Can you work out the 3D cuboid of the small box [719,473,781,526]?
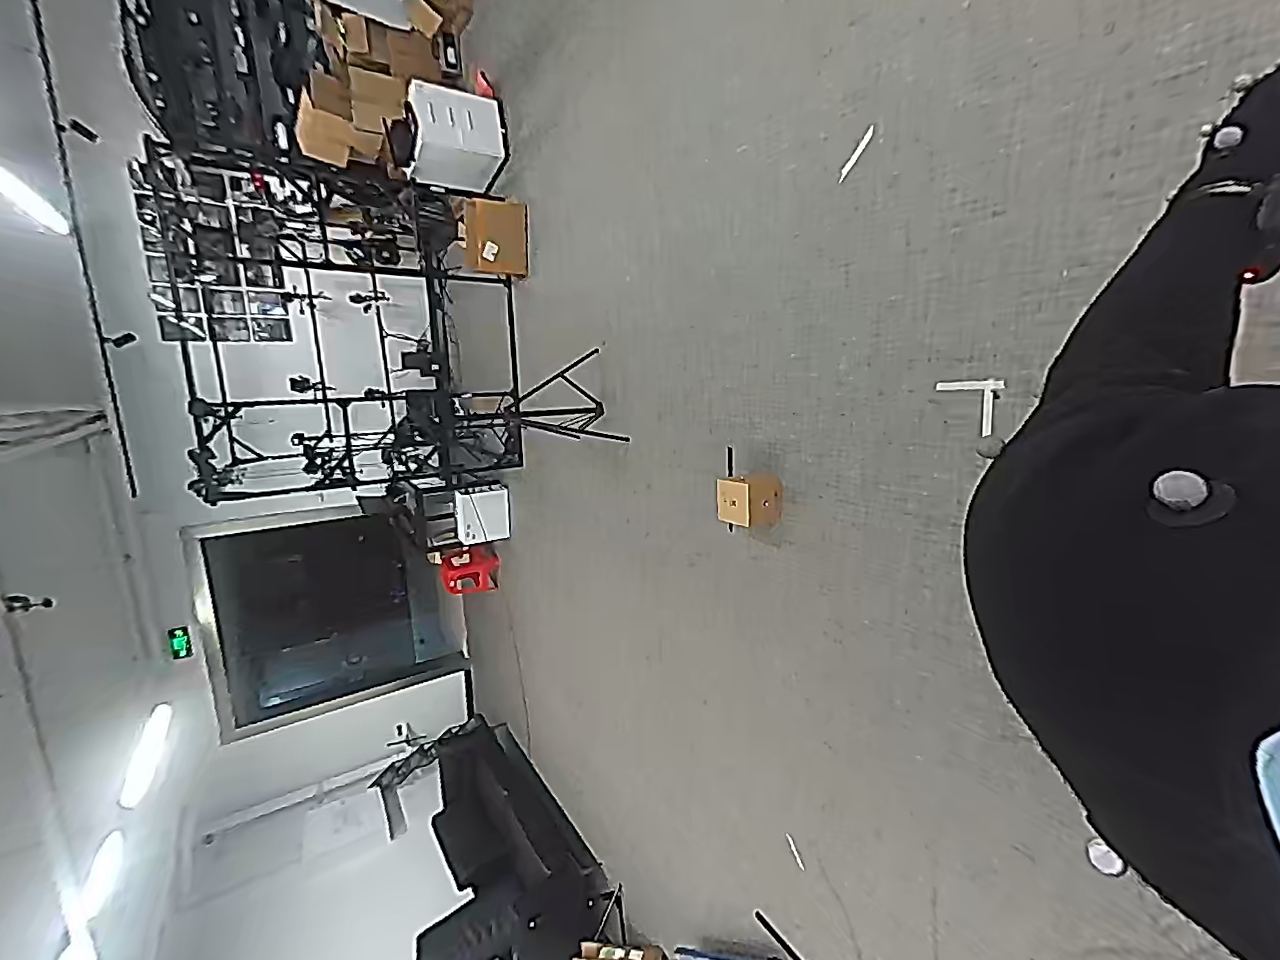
[{"bbox_3d":[0.427,0.070,2.087,0.179,0.176,0.168,12,107,57],"label":"small box"}]
